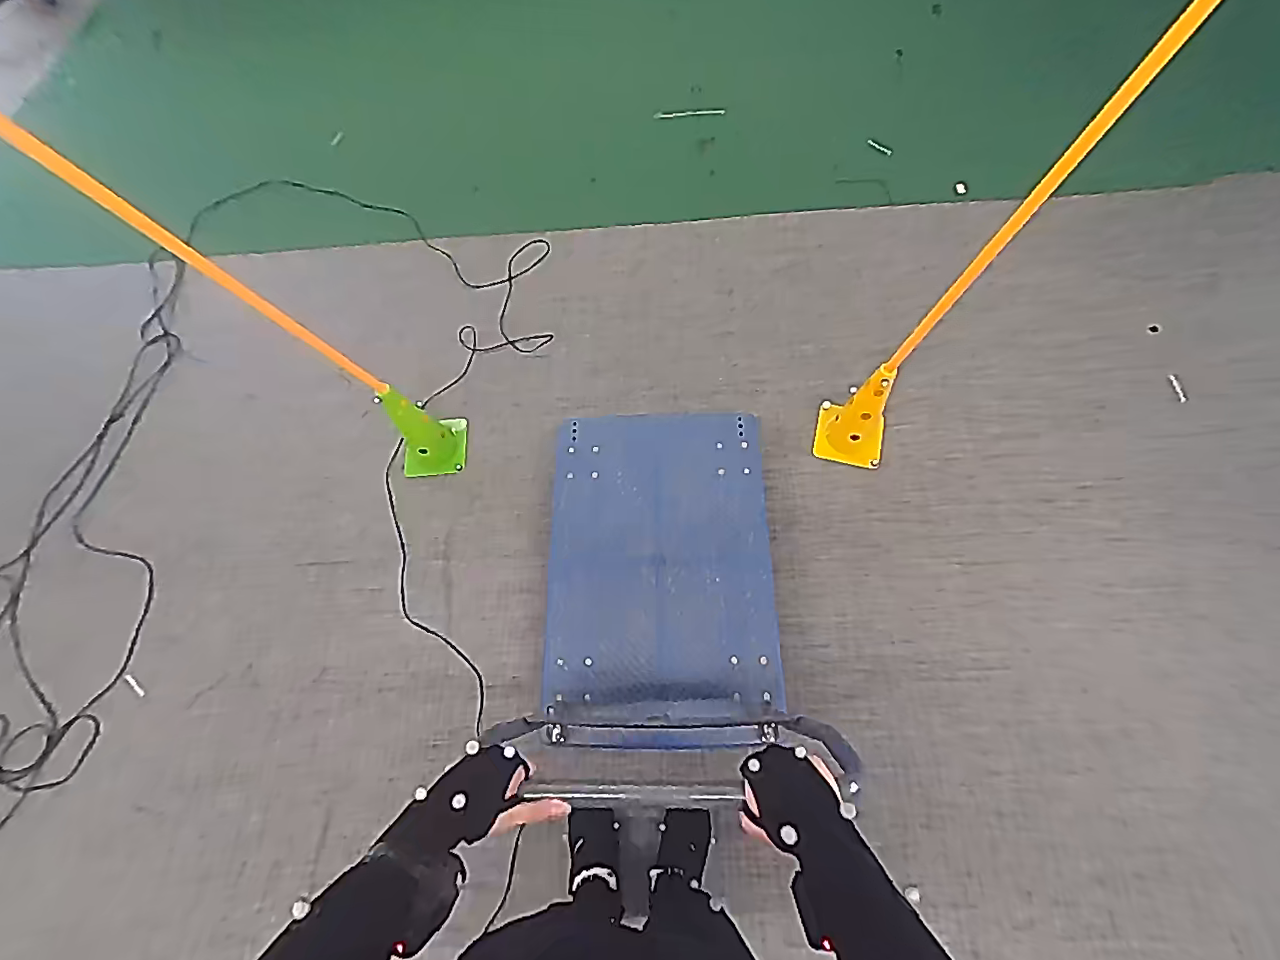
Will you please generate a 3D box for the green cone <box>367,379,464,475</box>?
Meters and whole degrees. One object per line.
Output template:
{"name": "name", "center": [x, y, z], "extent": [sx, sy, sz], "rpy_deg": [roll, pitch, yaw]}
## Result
{"name": "green cone", "center": [-0.691, -0.185, 1.607], "extent": [0.202, 0.368, 0.200], "rpy_deg": [-7, 66, 3]}
